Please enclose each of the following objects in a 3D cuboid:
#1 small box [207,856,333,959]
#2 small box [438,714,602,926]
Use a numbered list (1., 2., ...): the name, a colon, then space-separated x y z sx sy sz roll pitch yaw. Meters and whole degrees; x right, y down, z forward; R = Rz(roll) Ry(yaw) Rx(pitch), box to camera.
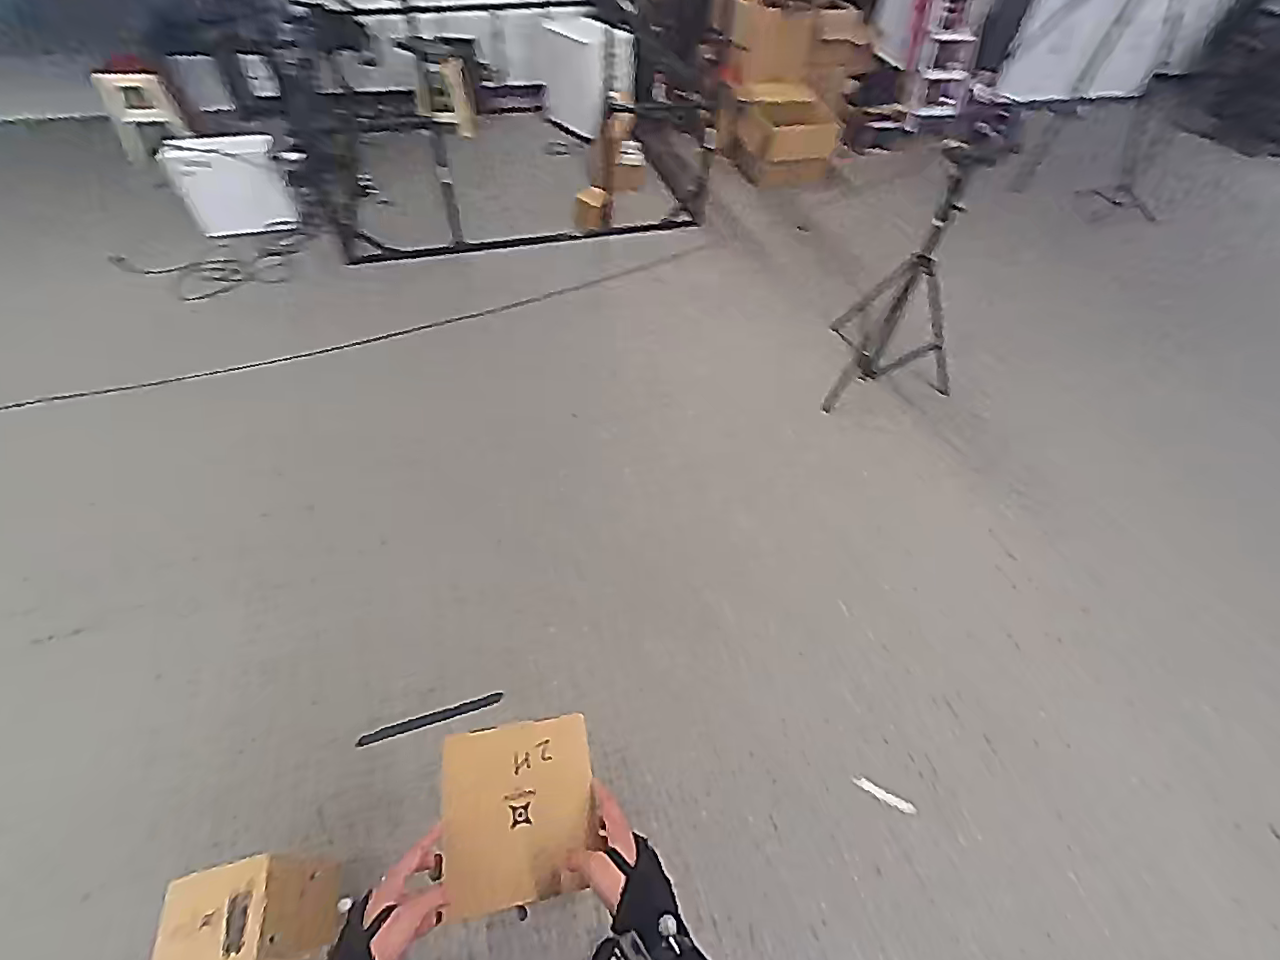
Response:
1. small box: -0.781 0.936 1.159 0.168 0.176 0.179 -12 53 -12
2. small box: -0.145 0.404 0.653 0.168 0.176 0.179 -3 54 -15
